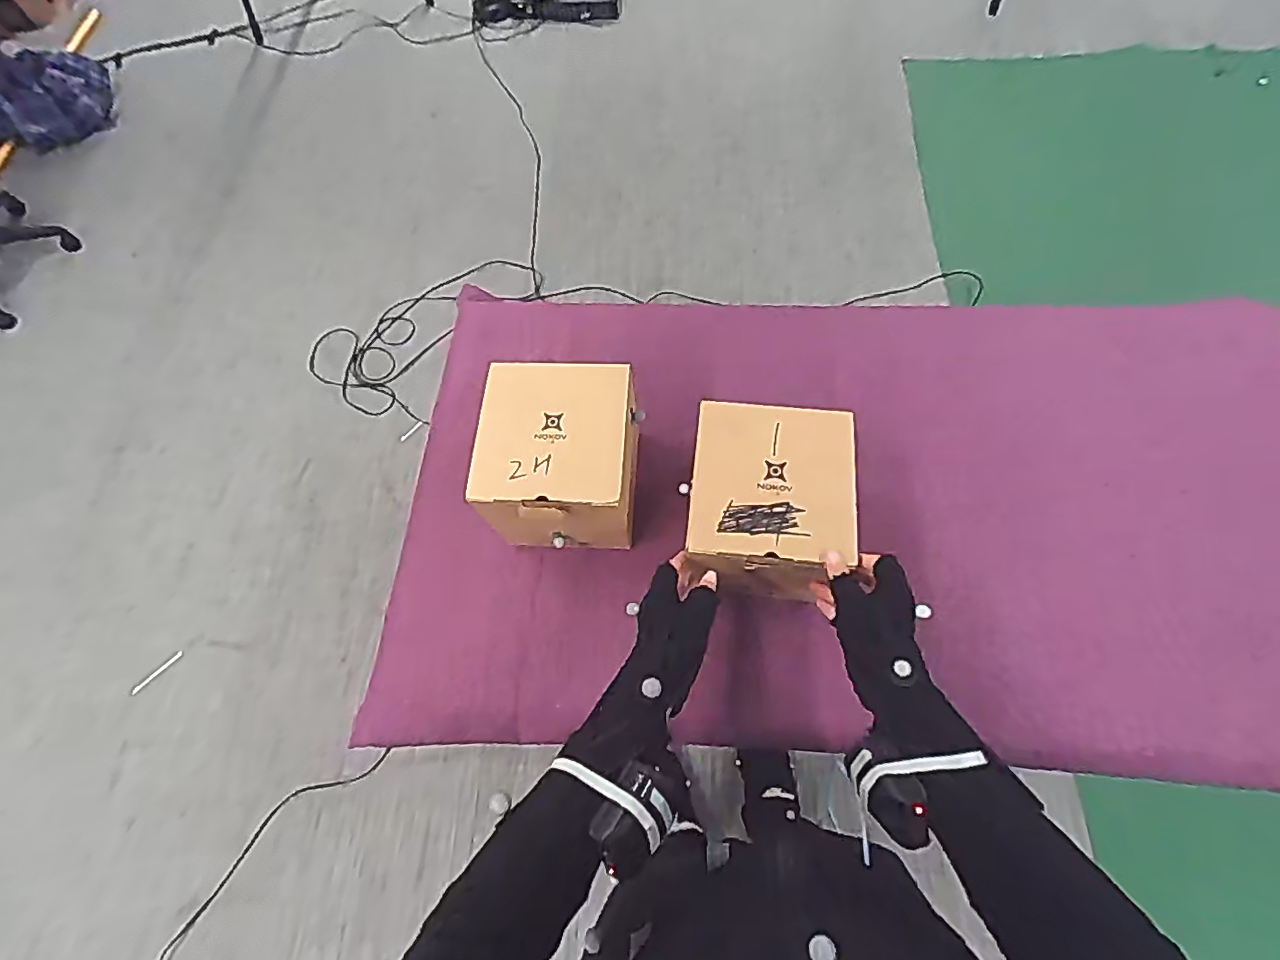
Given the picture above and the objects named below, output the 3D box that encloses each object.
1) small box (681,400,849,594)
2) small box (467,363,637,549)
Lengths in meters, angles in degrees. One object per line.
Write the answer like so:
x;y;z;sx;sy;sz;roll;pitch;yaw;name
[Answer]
0.139;0.028;0.635;0.168;0.176;0.179;5;67;6;small box
-0.094;-0.025;0.671;0.168;0.176;0.179;2;67;5;small box
